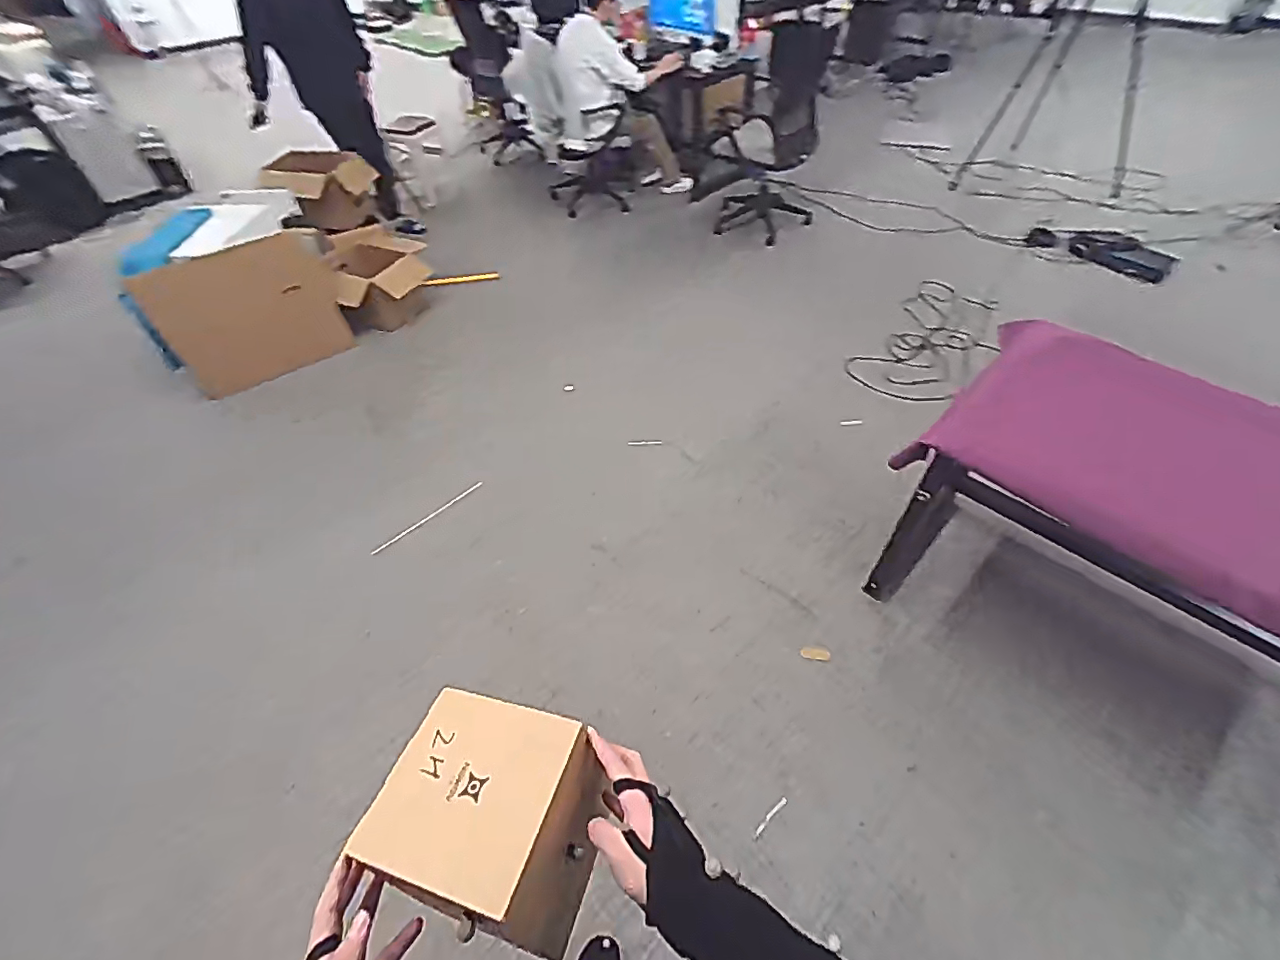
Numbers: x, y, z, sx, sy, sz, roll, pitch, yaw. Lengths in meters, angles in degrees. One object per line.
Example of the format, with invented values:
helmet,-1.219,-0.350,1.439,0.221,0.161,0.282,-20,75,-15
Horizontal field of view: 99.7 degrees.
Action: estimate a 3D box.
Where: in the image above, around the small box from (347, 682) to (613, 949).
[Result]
small box,-0.144,0.343,0.558,0.179,0.176,0.168,5,41,22
